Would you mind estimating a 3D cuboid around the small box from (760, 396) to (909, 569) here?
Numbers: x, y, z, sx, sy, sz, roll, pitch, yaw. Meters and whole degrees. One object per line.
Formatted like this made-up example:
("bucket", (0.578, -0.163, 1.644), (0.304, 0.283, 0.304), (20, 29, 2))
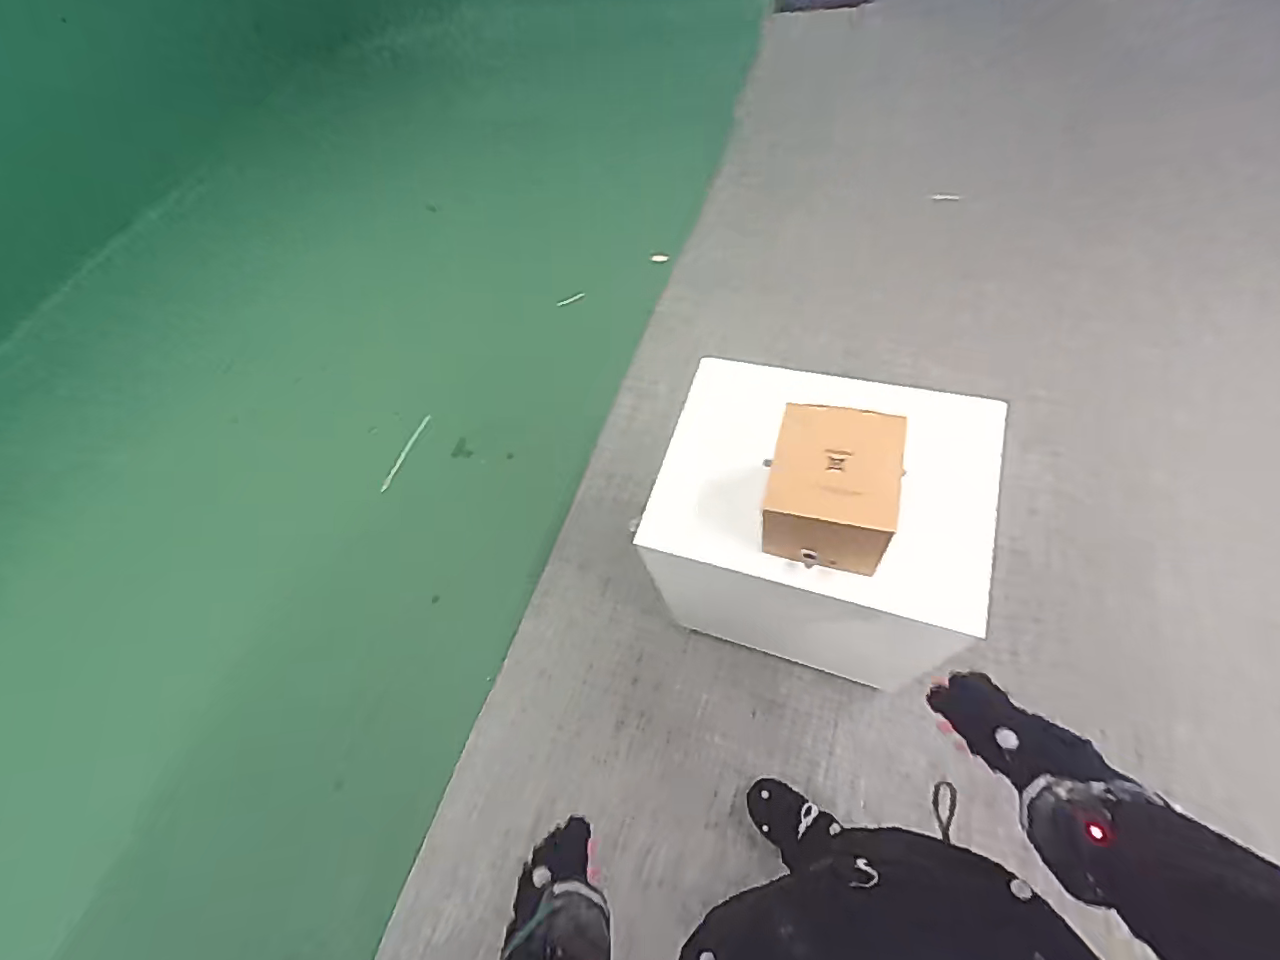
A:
("small box", (0.269, 0.007, 0.767), (0.168, 0.176, 0.179), (9, 66, 19))
